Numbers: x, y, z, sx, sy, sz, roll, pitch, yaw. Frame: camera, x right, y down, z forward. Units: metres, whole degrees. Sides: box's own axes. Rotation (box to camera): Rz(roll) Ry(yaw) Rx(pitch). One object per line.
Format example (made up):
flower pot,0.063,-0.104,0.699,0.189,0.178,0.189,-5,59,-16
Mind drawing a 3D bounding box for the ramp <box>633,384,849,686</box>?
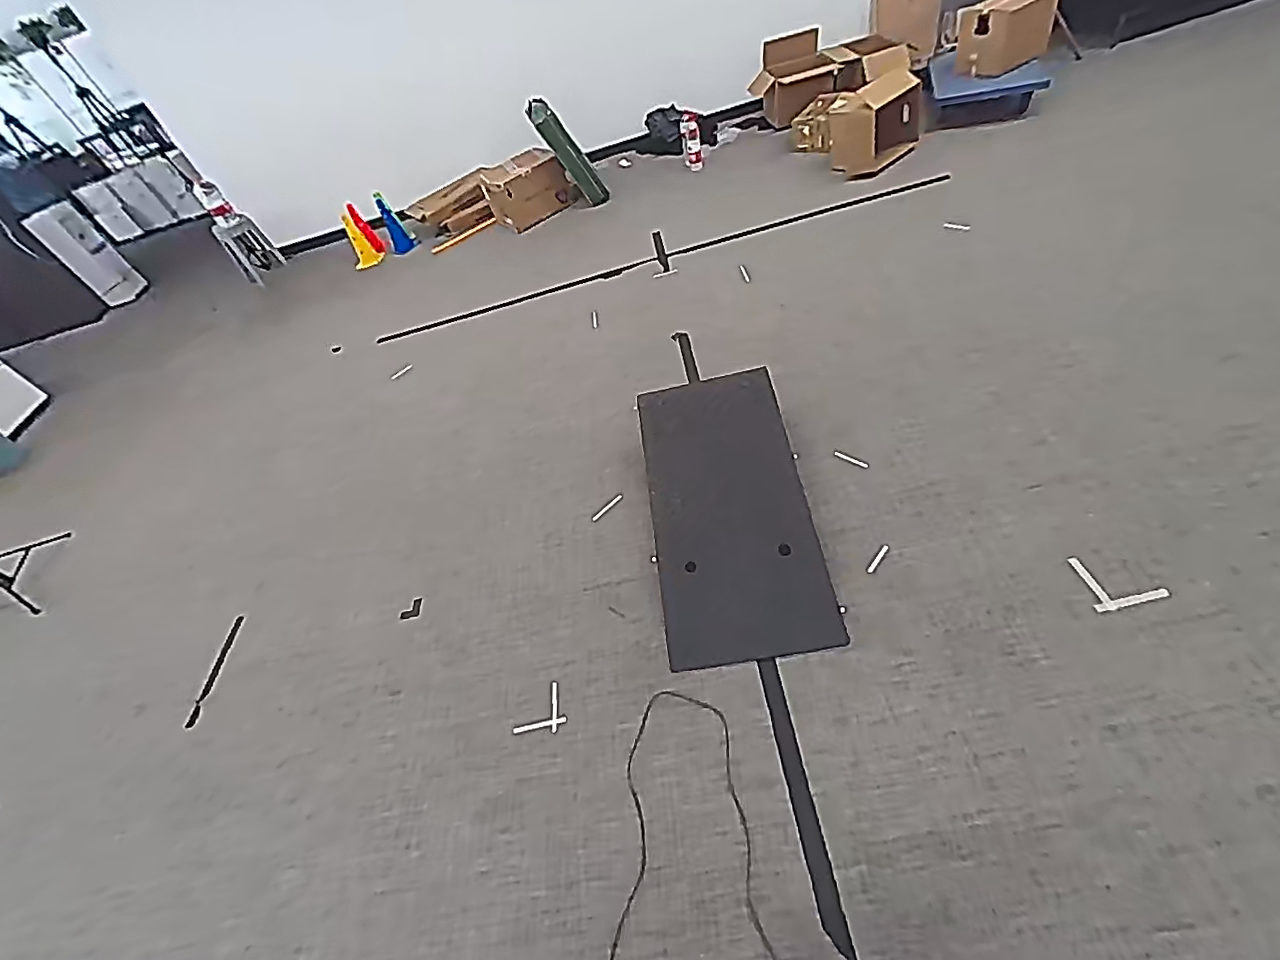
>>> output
ramp,0.272,0.112,1.751,0.509,0.206,0.991,-14,46,5
